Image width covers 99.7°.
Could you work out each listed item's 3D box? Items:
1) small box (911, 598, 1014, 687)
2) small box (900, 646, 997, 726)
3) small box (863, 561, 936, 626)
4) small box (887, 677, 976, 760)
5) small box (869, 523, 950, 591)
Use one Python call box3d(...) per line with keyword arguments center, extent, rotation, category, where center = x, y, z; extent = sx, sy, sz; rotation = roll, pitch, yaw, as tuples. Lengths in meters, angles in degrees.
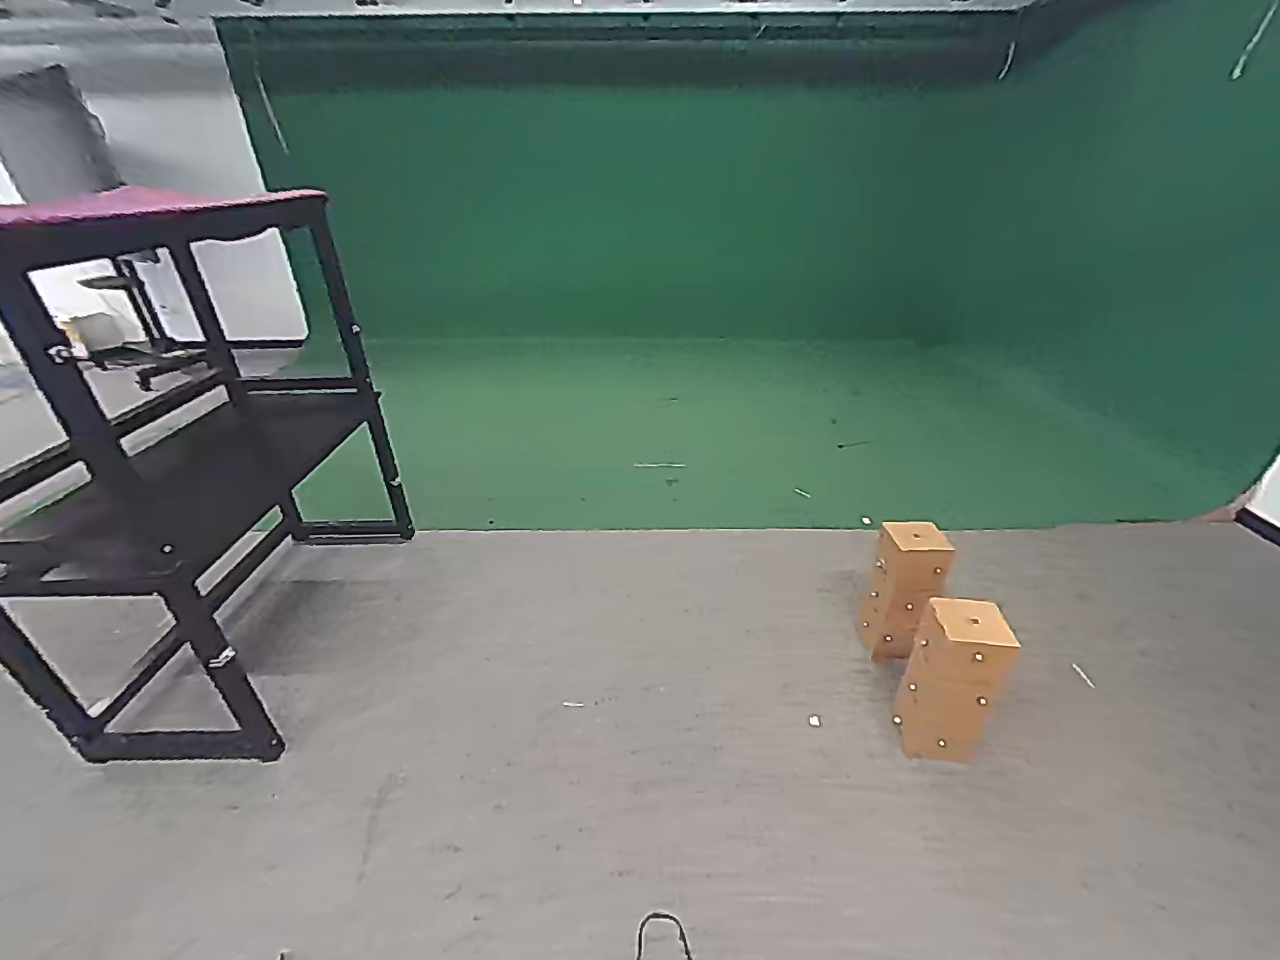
box3d(center=(0.884, 0.453, 1.500), extent=(0.179, 0.176, 0.168), rotation=(3, 31, 6), category="small box")
box3d(center=(0.890, 0.595, 1.579), extent=(0.179, 0.176, 0.168), rotation=(2, 30, 4), category="small box")
box3d(center=(0.906, 0.400, 1.911), extent=(0.179, 0.176, 0.168), rotation=(-2, 30, -2), category="small box")
box3d(center=(0.888, 0.735, 1.664), extent=(0.179, 0.176, 0.168), rotation=(2, 30, 6), category="small box")
box3d(center=(0.901, 0.260, 1.827), extent=(0.179, 0.176, 0.168), rotation=(-2, 29, -1), category="small box")
